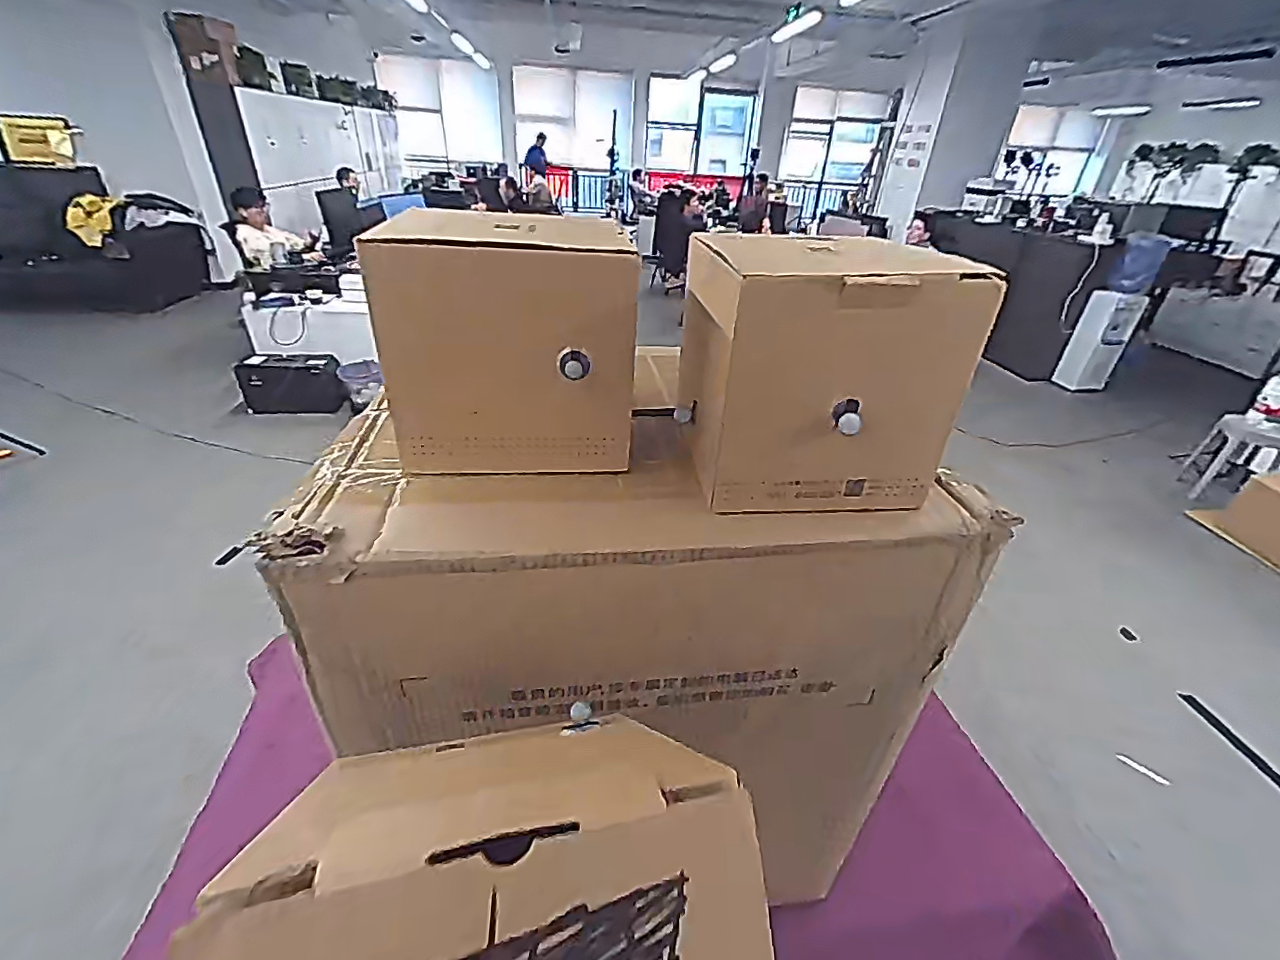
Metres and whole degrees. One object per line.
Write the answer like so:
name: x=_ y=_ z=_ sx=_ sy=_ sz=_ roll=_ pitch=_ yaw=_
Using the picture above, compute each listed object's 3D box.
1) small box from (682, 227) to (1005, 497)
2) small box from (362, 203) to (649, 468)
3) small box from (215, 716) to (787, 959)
small box: x=0.130 y=-0.096 z=0.427 sx=0.168 sy=0.176 sz=0.179 roll=-1 pitch=32 yaw=-6
small box: x=-0.095 y=-0.119 z=0.440 sx=0.179 sy=0.176 sz=0.168 roll=-2 pitch=31 yaw=-8
small box: x=-0.050 y=0.204 z=0.222 sx=0.168 sy=0.176 sz=0.179 roll=-2 pitch=75 yaw=-18
